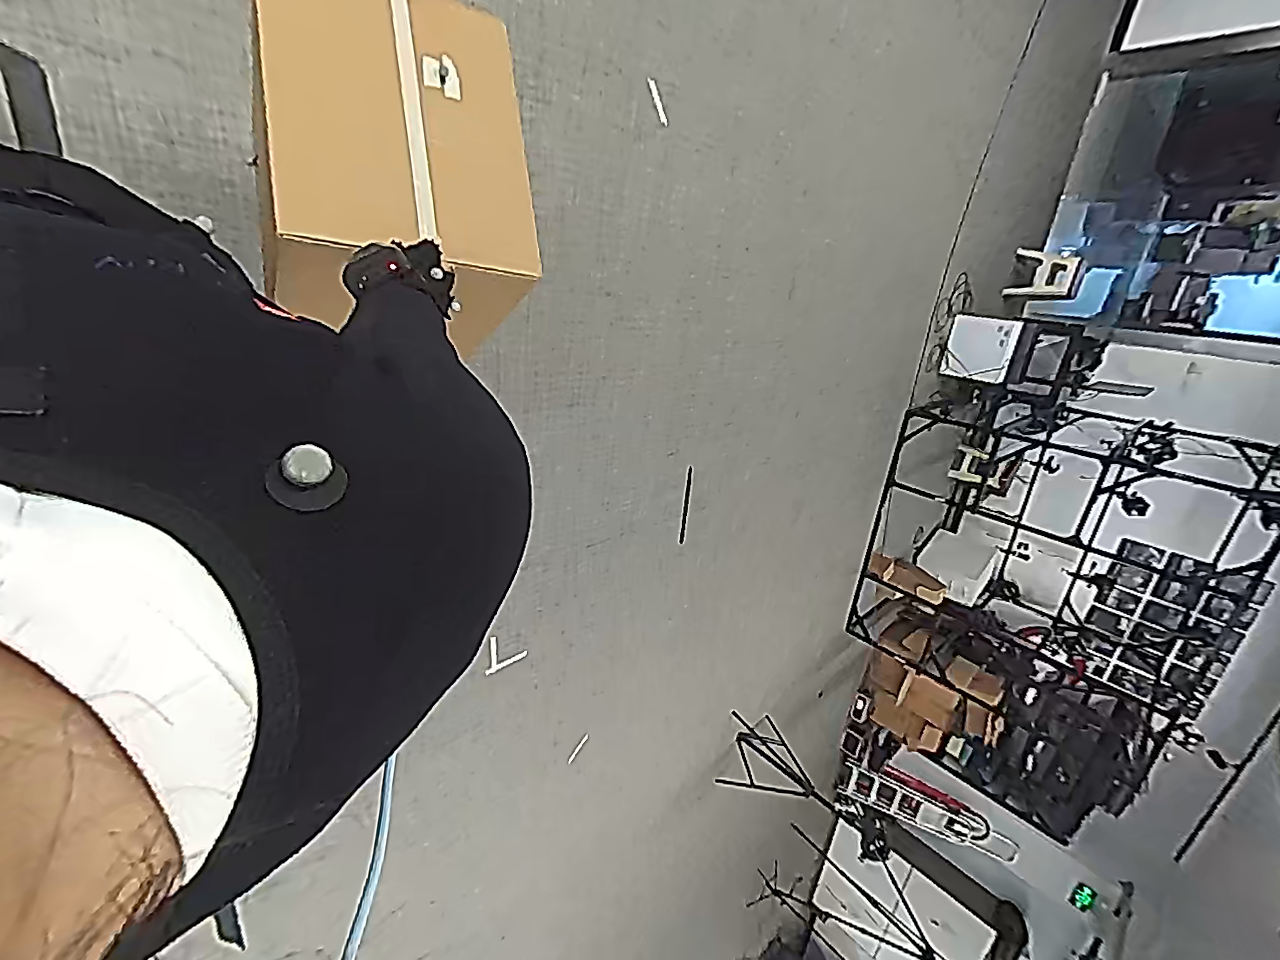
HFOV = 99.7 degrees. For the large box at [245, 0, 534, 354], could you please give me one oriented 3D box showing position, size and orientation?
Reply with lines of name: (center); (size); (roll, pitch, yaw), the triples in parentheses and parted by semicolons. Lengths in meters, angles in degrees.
large box: (-0.396, -0.440, 0.826); (0.320, 0.320, 0.408); (-5, 81, -38)
